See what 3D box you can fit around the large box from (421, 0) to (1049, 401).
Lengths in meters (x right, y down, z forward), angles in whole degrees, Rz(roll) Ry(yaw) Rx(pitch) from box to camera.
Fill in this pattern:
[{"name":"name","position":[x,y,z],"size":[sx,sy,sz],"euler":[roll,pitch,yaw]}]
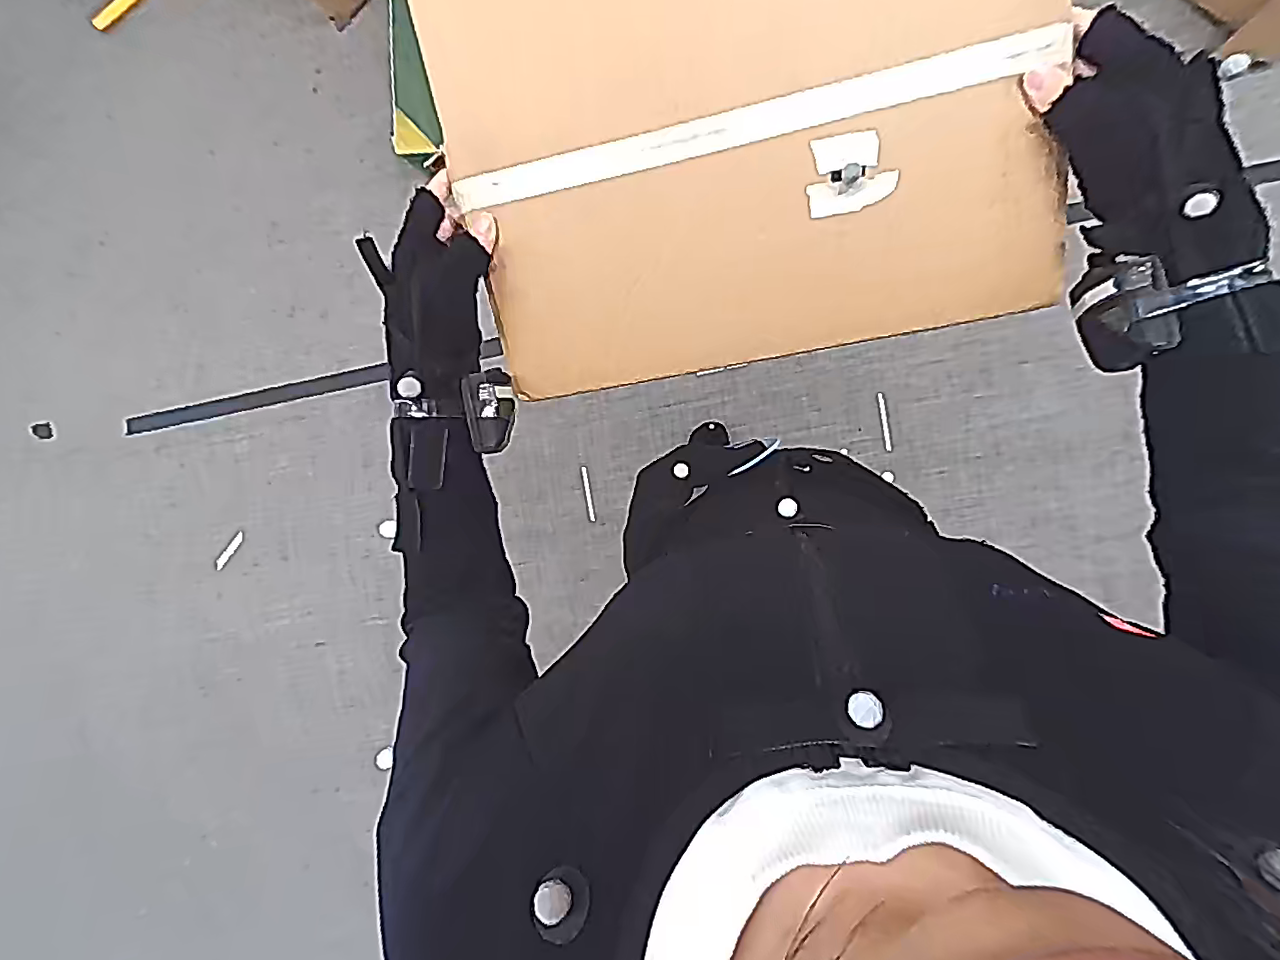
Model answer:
[{"name":"large box","position":[0.081,-0.288,0.520],"size":[0.408,0.320,0.320],"euler":[-10,108,8]}]
